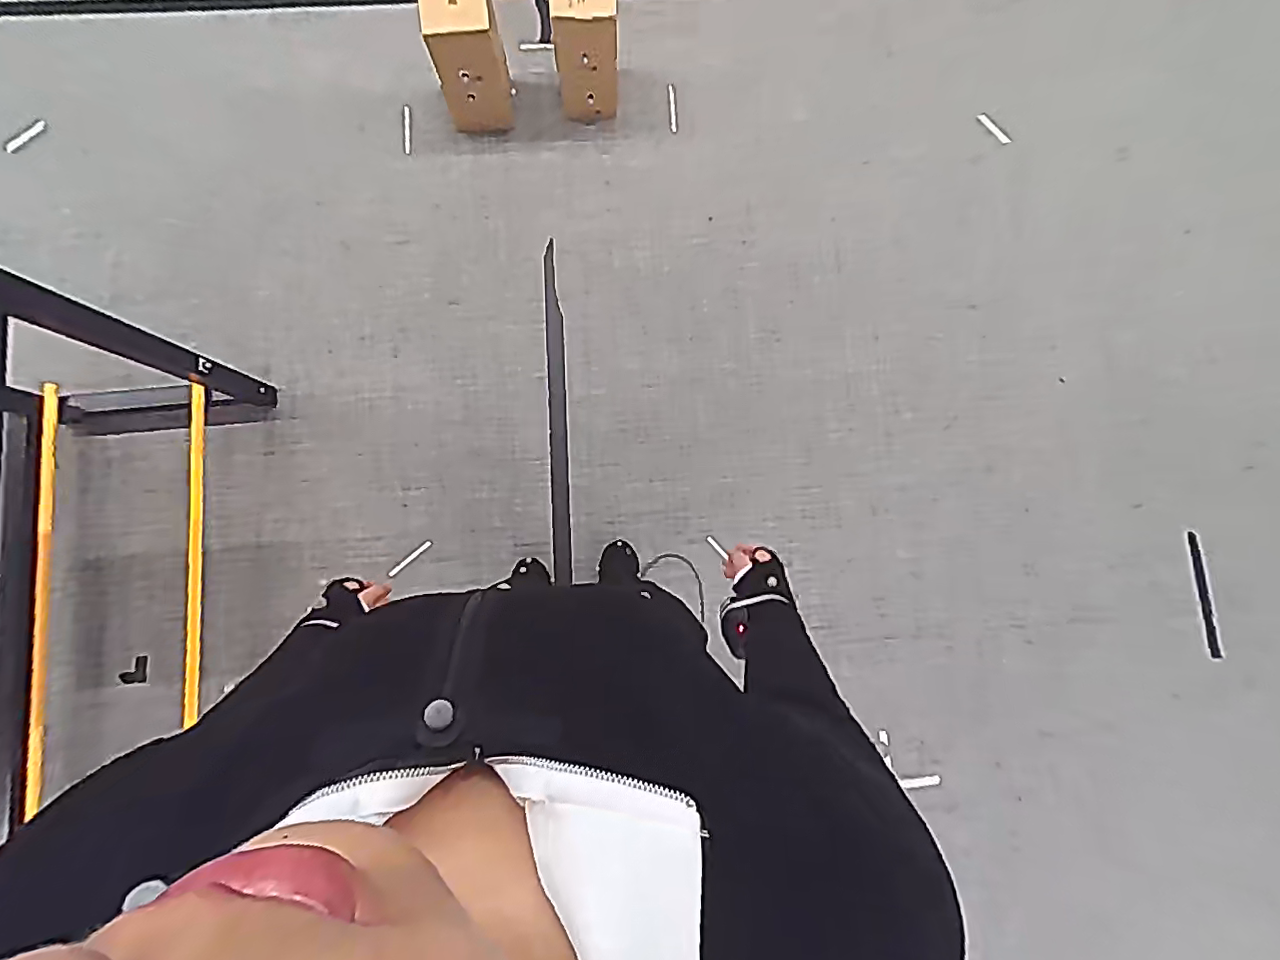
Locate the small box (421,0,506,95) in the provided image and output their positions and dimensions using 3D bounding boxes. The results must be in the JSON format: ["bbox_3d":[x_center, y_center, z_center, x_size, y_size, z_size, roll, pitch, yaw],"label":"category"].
[{"bbox_3d":[-0.453,-1.146,1.398,0.168,0.176,0.179,-8,85,-1],"label":"small box"}]

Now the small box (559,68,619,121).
[{"bbox_3d":[-0.148,-1.186,1.581,0.168,0.176,0.179,-4,84,-3],"label":"small box"}]

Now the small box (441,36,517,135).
[{"bbox_3d":[-0.463,-1.130,1.559,0.179,0.176,0.168,-5,84,-3],"label":"small box"}]

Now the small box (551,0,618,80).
[{"bbox_3d":[-0.144,-1.197,1.415,0.168,0.176,0.179,-2,84,-2],"label":"small box"}]
